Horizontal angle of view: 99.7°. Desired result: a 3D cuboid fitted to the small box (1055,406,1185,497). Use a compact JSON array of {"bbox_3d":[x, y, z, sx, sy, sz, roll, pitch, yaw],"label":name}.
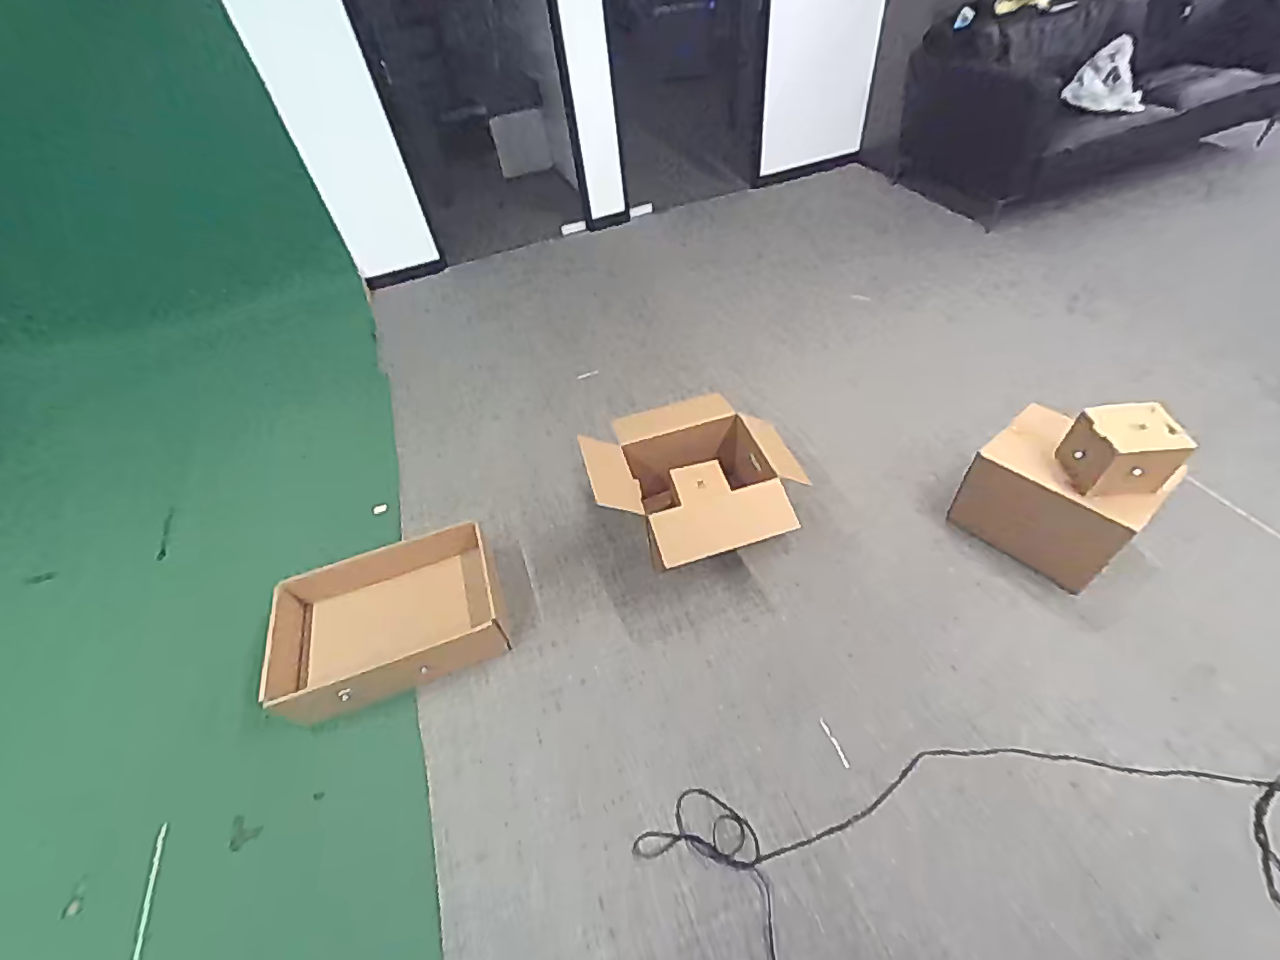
[{"bbox_3d":[1.223,-0.070,1.402,0.179,0.176,0.168,-5,48,6],"label":"small box"}]
